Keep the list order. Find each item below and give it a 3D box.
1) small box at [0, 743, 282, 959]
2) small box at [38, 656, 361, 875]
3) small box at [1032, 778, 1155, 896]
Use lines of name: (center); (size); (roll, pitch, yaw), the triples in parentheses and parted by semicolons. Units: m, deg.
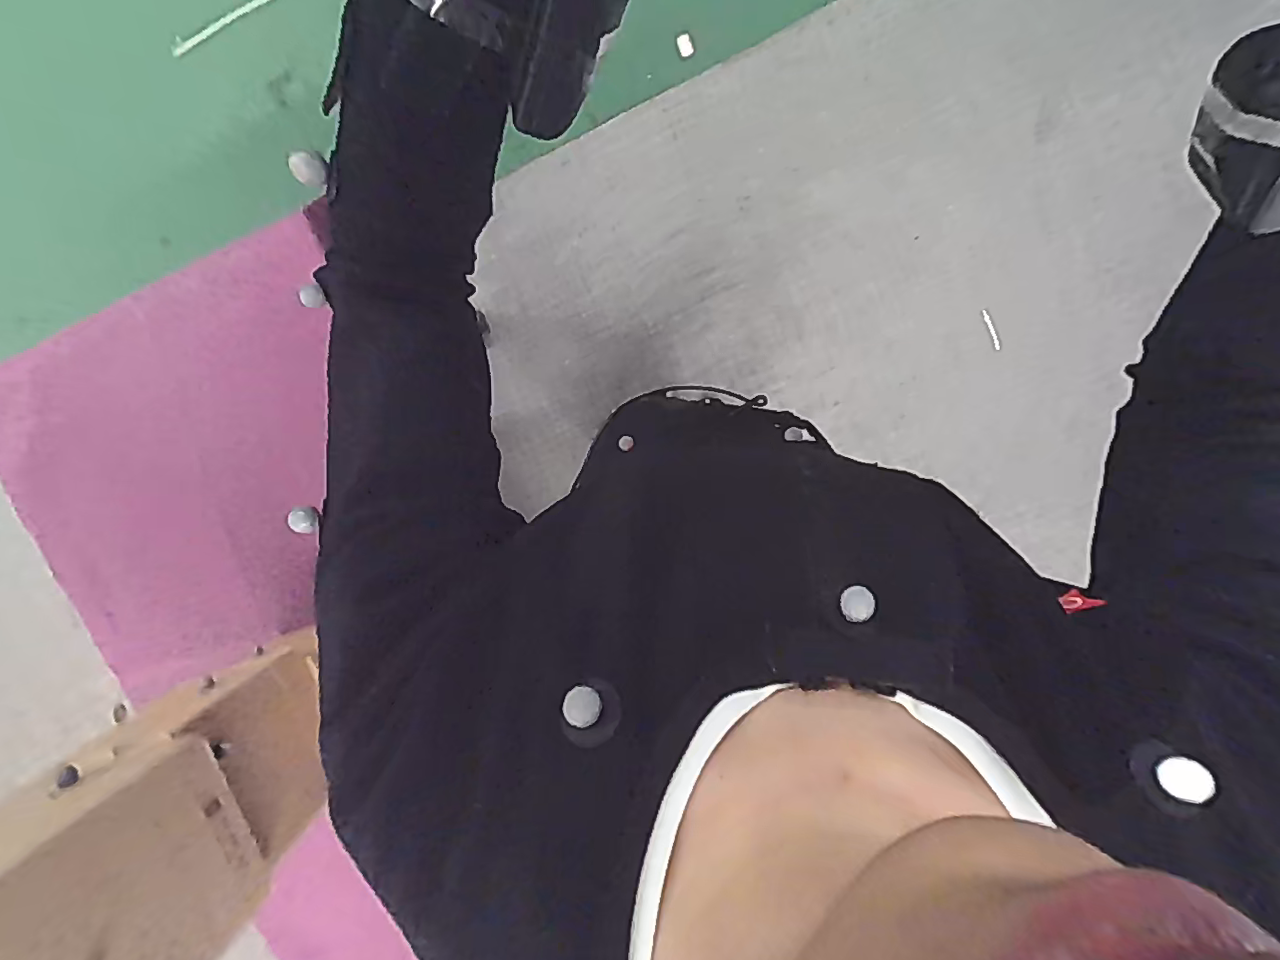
small box: (-0.428, 0.336, 0.408); (0.179, 0.176, 0.168); (-18, 97, 7)
small box: (-0.438, 0.320, 0.572); (0.168, 0.176, 0.179); (-21, 97, 6)
small box: (1.211, 0.954, 1.456); (0.168, 0.176, 0.179); (-25, 96, 6)
